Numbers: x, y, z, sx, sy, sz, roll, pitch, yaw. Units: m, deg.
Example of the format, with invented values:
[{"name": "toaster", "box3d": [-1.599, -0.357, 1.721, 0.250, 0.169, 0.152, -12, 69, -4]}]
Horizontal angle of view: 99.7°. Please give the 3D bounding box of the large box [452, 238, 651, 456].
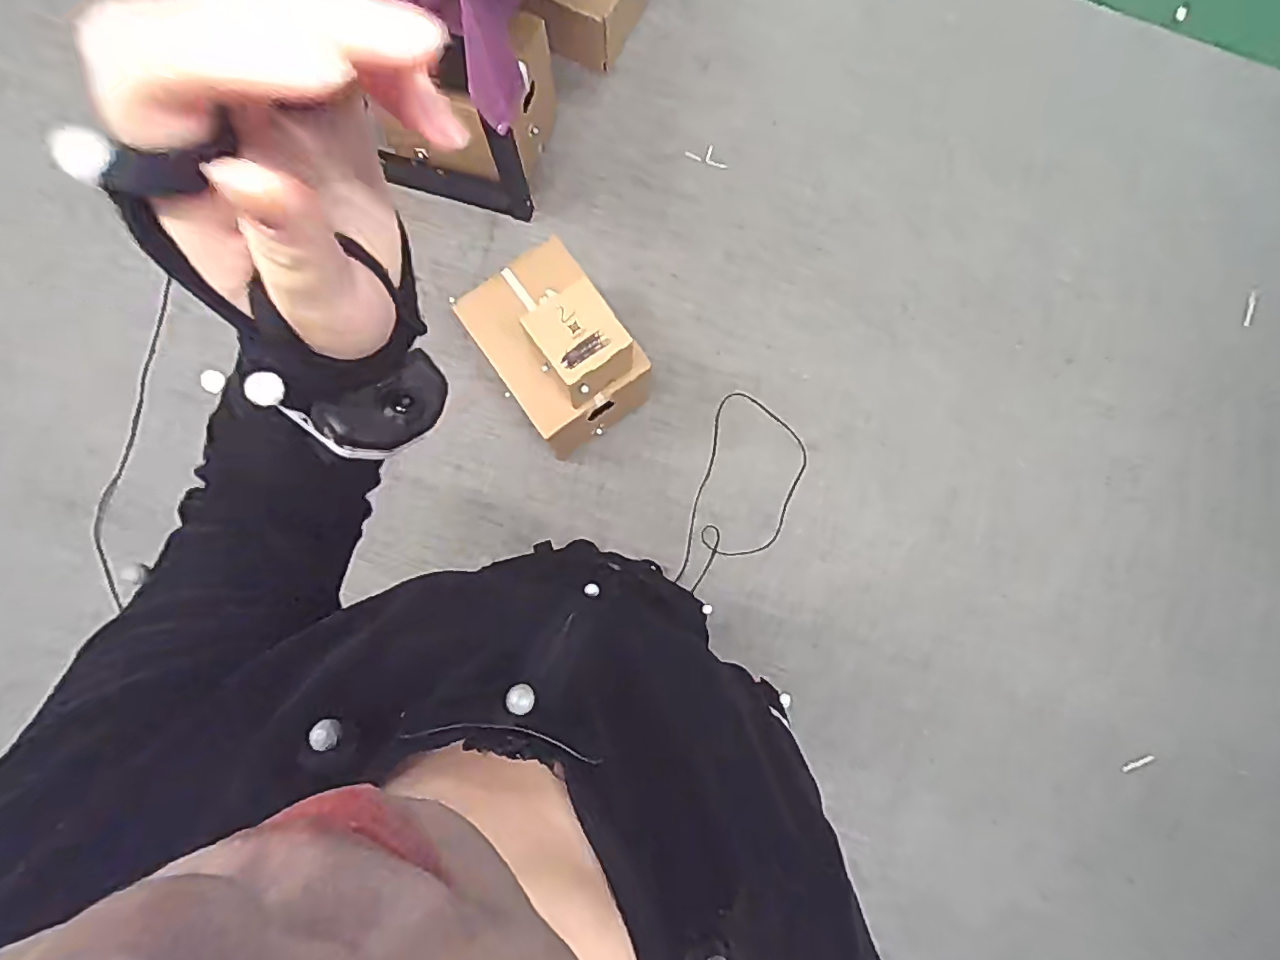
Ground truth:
[{"name": "large box", "box3d": [-0.212, -0.327, 1.428, 0.320, 0.320, 0.408, -35, 85, -6]}]
